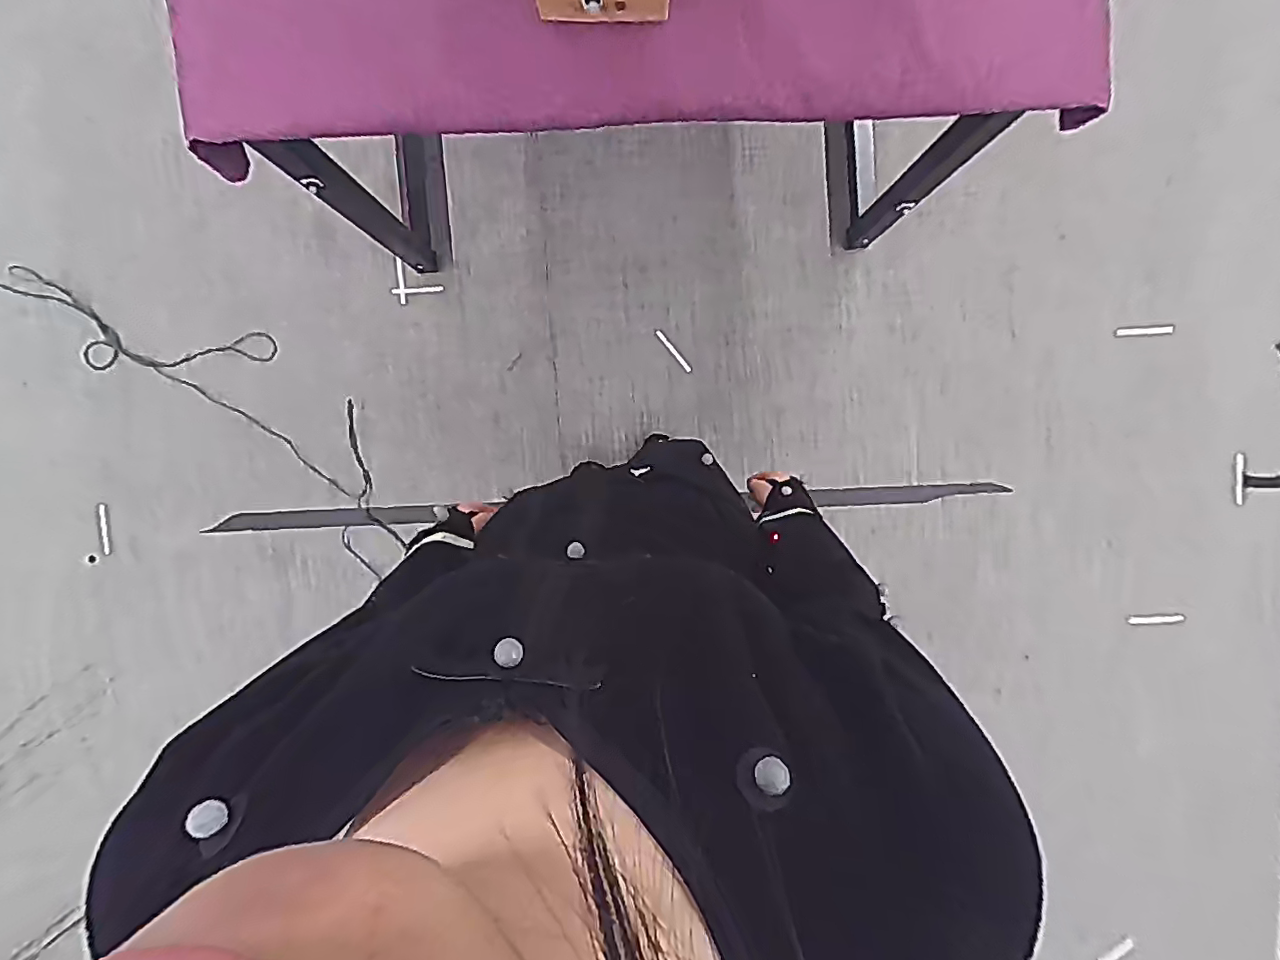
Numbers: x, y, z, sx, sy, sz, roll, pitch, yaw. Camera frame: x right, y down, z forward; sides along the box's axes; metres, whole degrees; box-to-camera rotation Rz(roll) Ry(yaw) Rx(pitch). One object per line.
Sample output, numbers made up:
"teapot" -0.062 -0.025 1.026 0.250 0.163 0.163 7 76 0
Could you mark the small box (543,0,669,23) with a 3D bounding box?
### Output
"small box" -0.044 -0.676 0.614 0.168 0.176 0.179 -1 95 1
